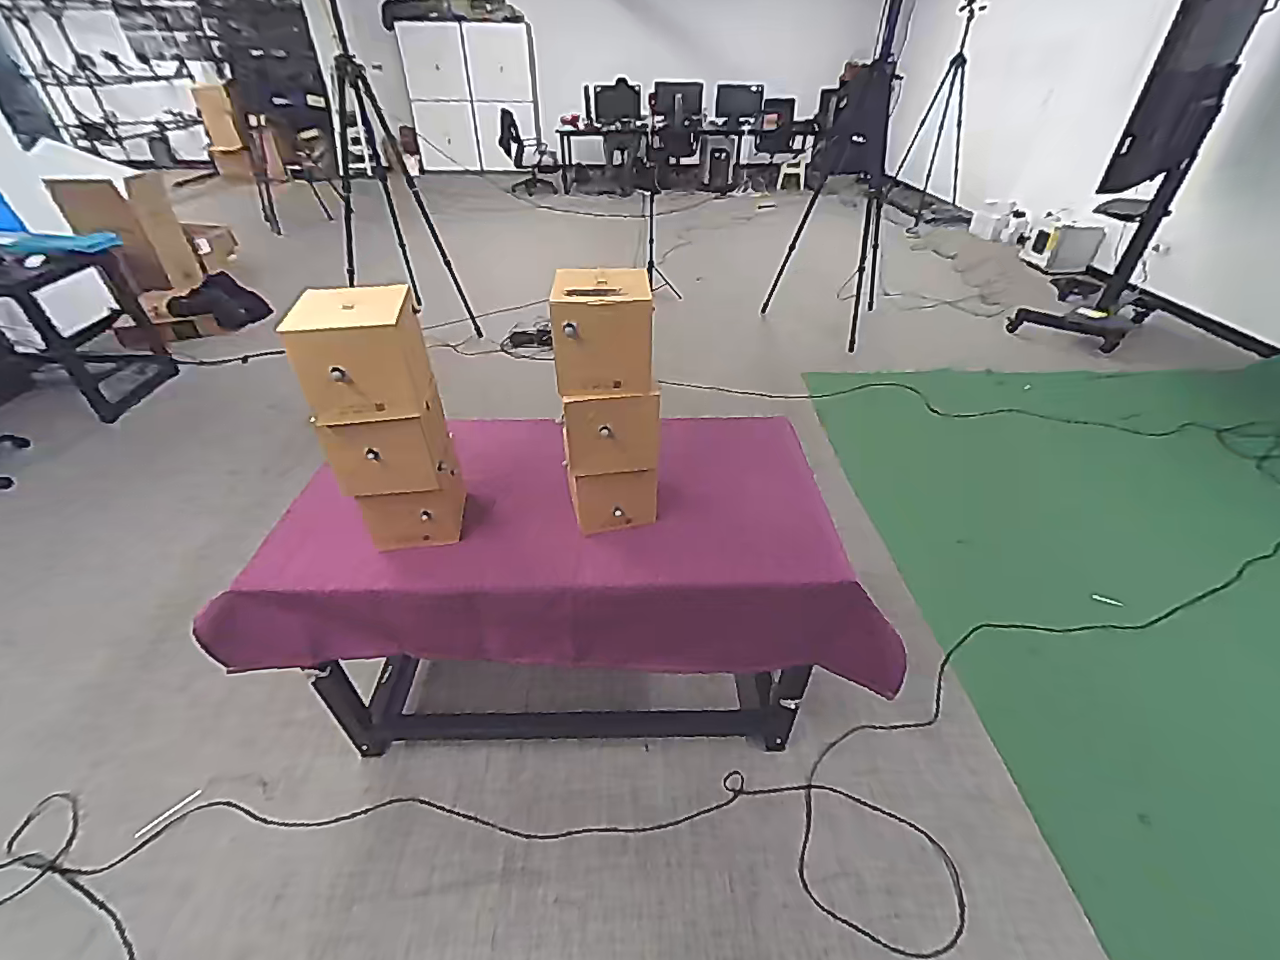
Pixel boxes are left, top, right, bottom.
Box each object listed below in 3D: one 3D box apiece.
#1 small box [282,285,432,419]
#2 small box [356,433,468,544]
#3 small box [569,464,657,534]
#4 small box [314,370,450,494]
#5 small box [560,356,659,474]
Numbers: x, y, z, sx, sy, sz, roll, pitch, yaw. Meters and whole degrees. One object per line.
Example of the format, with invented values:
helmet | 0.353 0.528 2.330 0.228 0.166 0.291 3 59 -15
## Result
small box | -0.456 -0.211 0.906 0.168 0.176 0.179 -6 38 -10
small box | -0.467 0.022 1.137 0.168 0.176 0.179 -4 38 -6
small box | -0.065 -0.008 1.173 0.168 0.176 0.179 -8 39 -10
small box | -0.467 -0.090 1.015 0.179 0.176 0.168 -4 39 -6
small box | -0.060 -0.125 1.057 0.179 0.176 0.168 -5 39 -7
